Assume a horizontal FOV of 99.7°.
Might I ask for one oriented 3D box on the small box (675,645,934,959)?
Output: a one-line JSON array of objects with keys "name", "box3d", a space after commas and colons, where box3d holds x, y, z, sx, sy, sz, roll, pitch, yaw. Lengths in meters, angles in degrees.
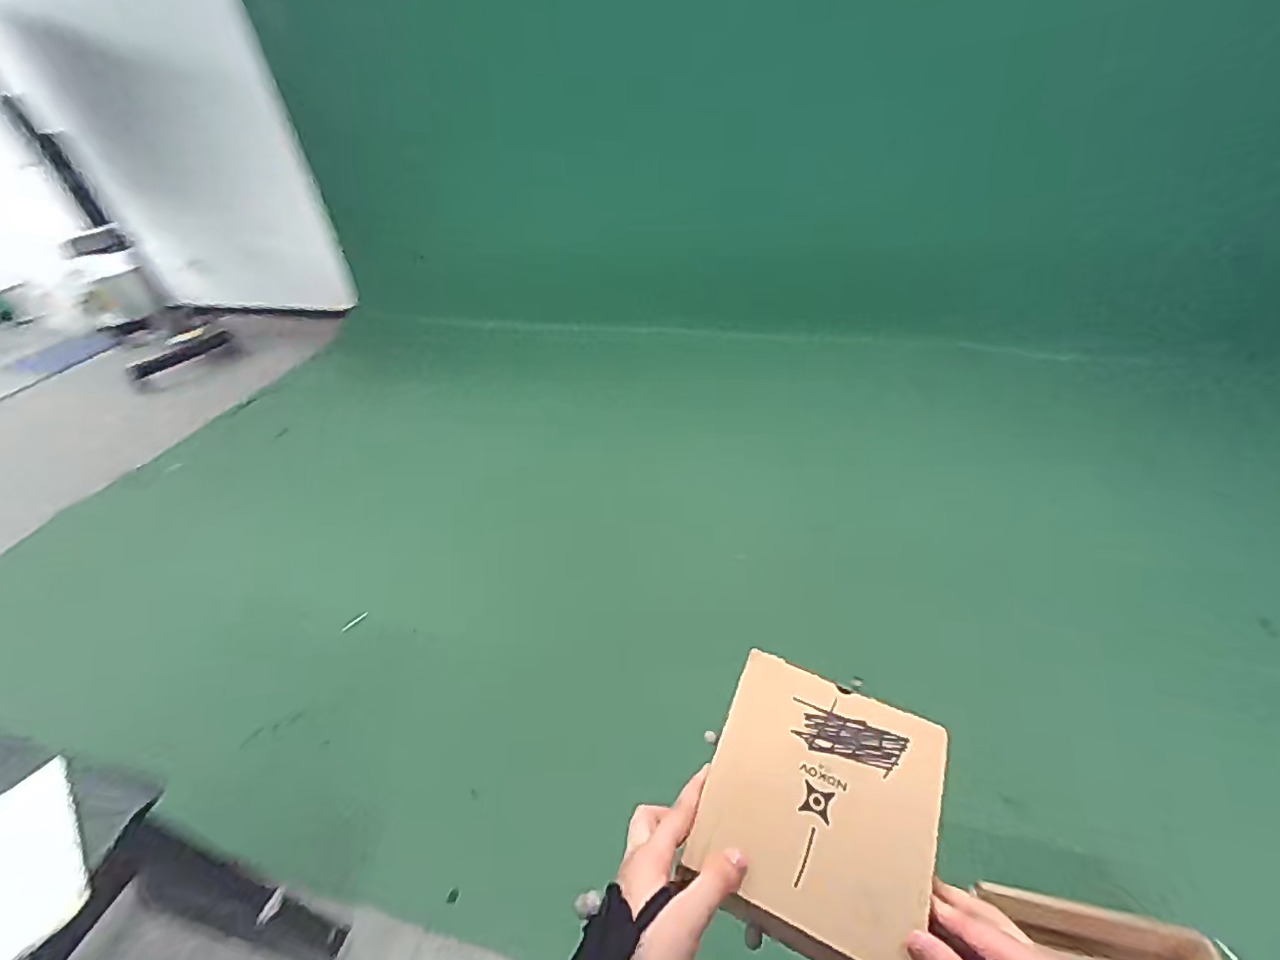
[{"name": "small box", "box3d": [0.134, 0.284, 0.476, 0.168, 0.176, 0.179, 18, 54, 16]}]
